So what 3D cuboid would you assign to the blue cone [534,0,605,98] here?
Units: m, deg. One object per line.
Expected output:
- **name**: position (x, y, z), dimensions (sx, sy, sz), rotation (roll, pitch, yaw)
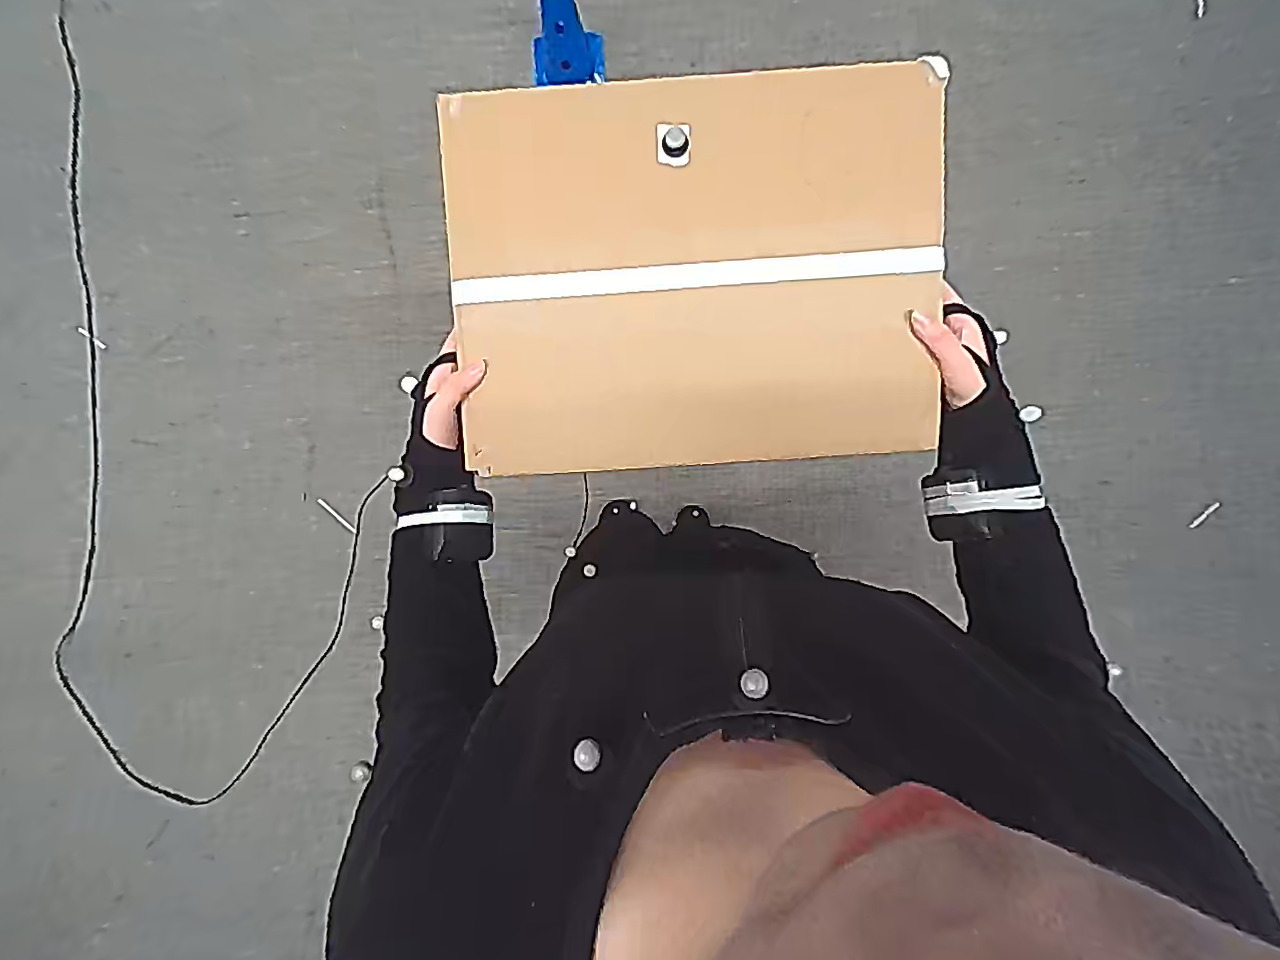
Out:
- **blue cone**: position (-0.196, -1.162, 1.334), dimensions (0.193, 0.380, 0.192), rotation (-5, 90, 0)
